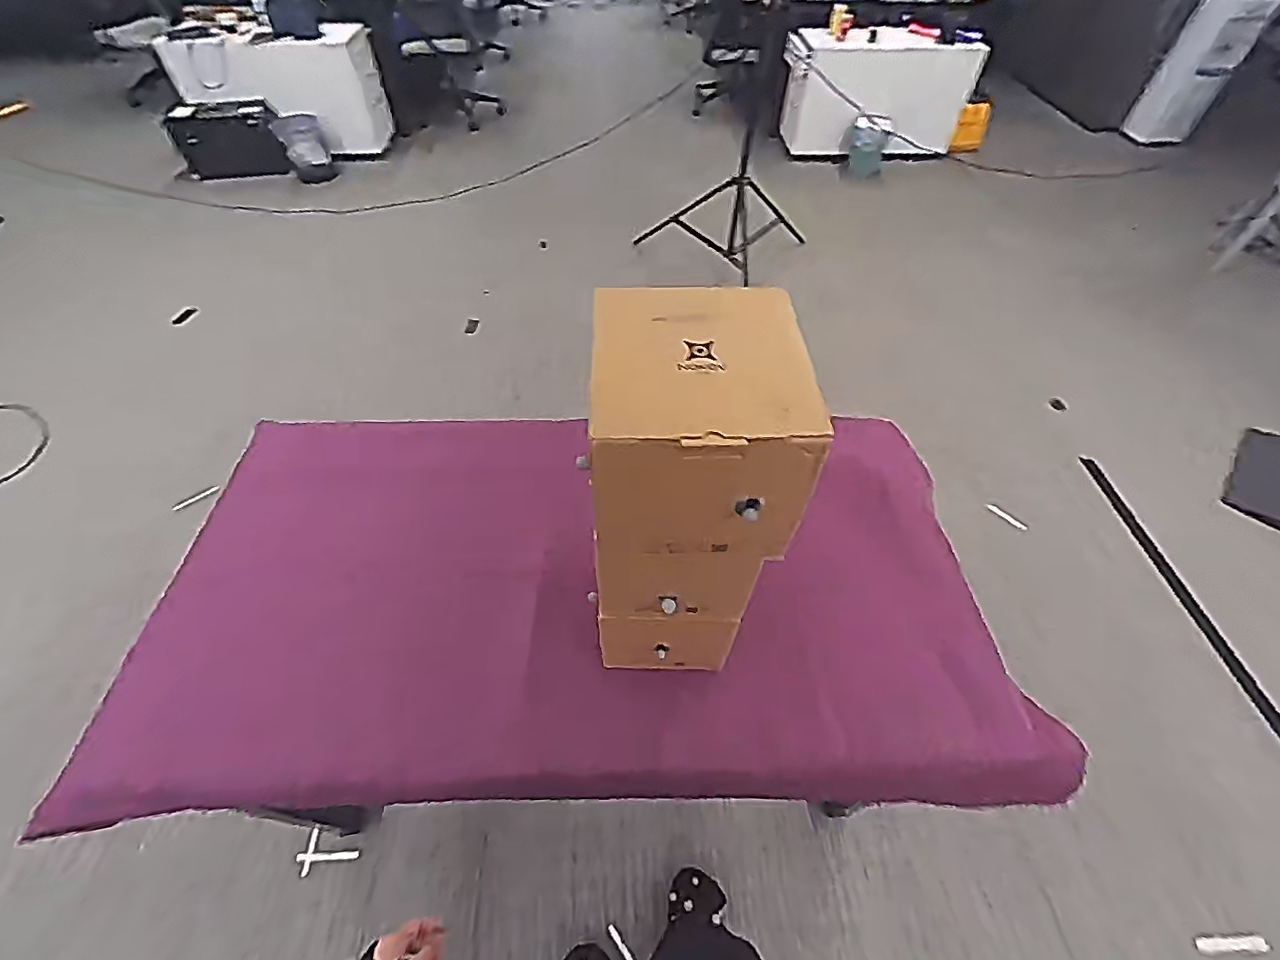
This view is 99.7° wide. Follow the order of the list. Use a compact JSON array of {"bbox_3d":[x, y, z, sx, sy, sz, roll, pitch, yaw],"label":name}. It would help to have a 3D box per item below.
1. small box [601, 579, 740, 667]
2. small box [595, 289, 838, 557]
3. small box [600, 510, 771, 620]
[{"bbox_3d":[0.038,0.144,0.738,0.168,0.176,0.179,2,51,0],"label":"small box"},{"bbox_3d":[0.049,-0.044,0.470,0.168,0.176,0.179,-1,51,-3],"label":"small box"},{"bbox_3d":[0.044,0.039,0.611,0.168,0.176,0.179,1,52,0],"label":"small box"}]
